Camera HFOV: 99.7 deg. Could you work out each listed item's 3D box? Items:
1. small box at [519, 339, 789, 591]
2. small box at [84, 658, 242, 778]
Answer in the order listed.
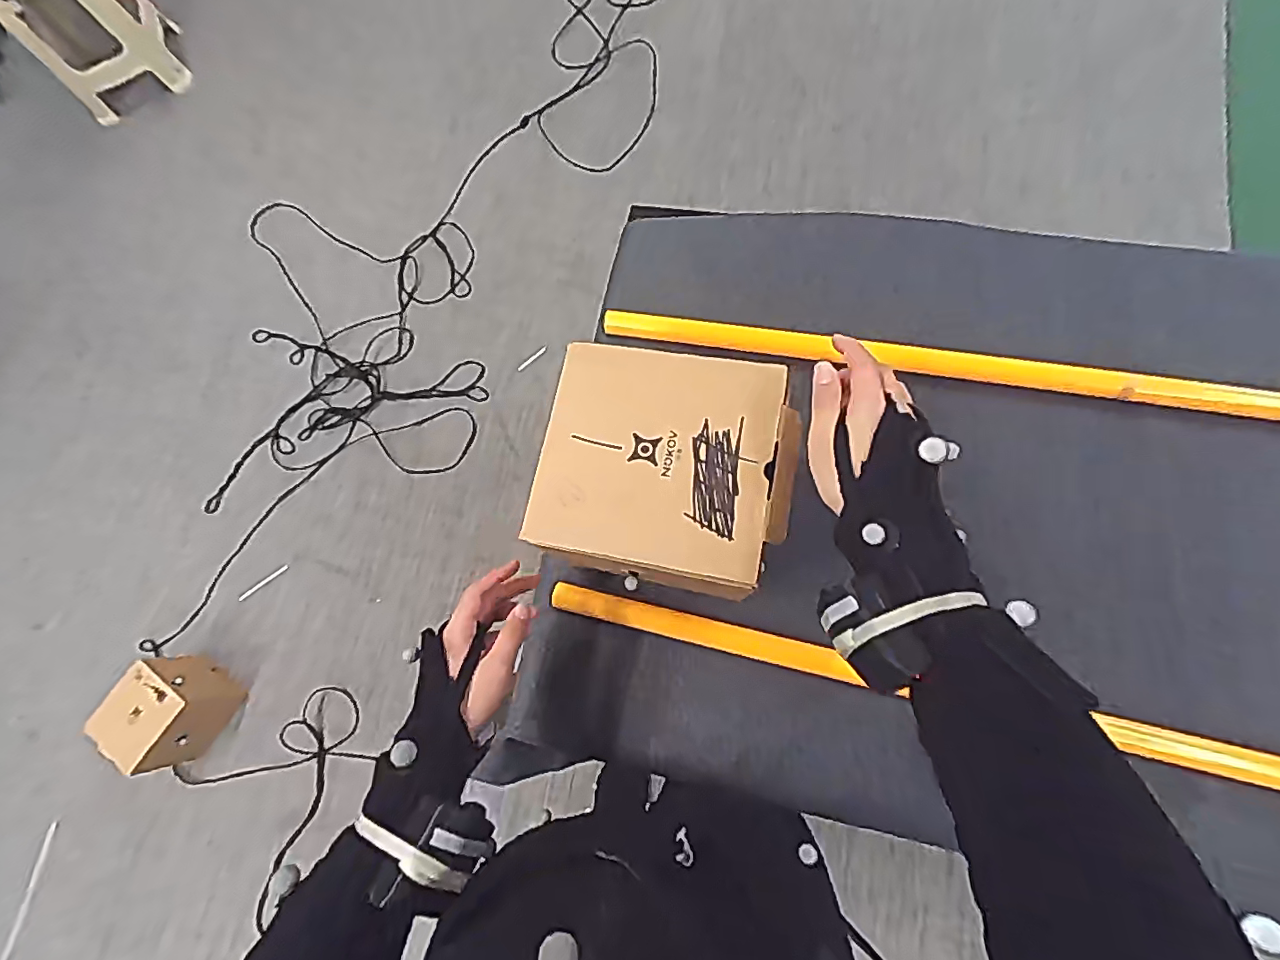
[{"bbox_3d":[0.020,0.000,0.477,0.179,0.176,0.168,10,76,10],"label":"small box"},{"bbox_3d":[-1.060,0.523,1.216,0.168,0.176,0.179,31,80,14],"label":"small box"}]
